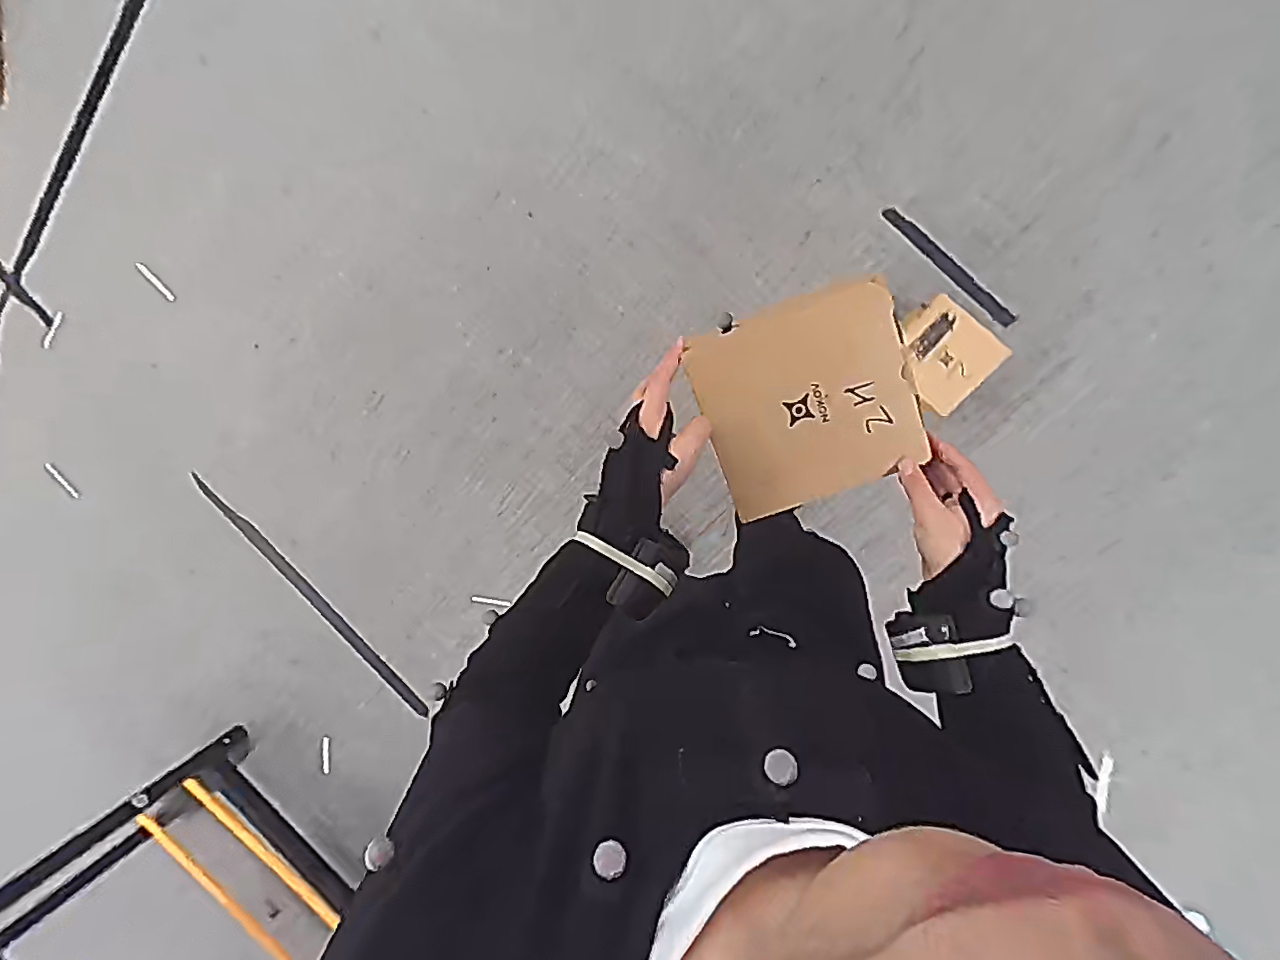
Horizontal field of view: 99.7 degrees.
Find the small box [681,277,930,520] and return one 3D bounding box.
[{"bbox_3d":[0.150,-0.085,0.538,0.179,0.176,0.168,-20,105,10],"label":"small box"}]
